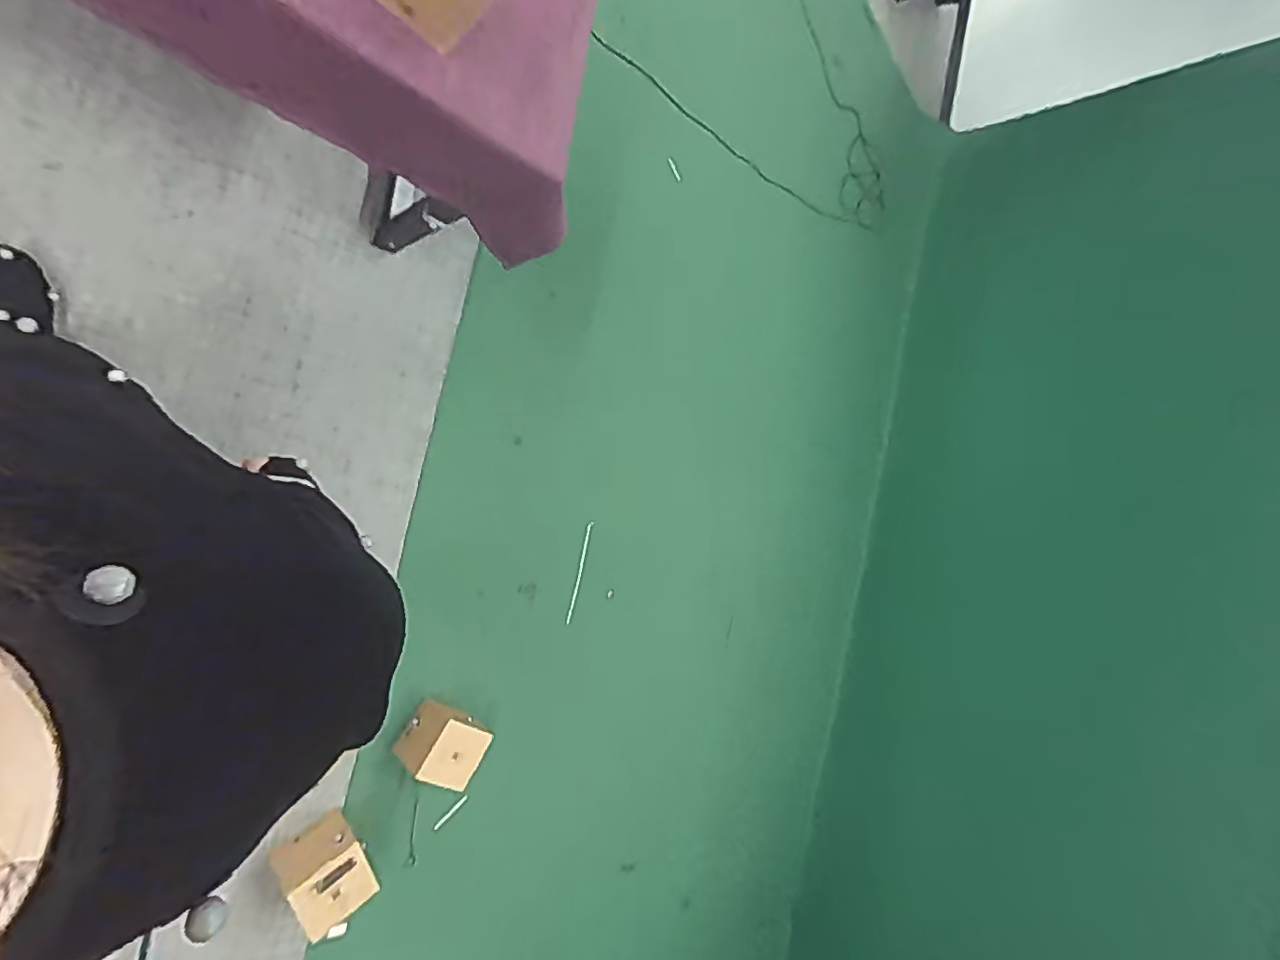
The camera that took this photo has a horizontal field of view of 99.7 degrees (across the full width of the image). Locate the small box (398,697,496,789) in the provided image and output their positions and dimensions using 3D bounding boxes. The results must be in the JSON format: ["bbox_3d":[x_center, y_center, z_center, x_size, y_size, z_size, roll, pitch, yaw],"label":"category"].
[{"bbox_3d":[-0.563,0.760,1.575,0.179,0.176,0.168,47,64,-38],"label":"small box"}]

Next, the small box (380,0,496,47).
[{"bbox_3d":[-0.253,-0.689,0.649,0.168,0.176,0.179,18,83,-44],"label":"small box"}]
